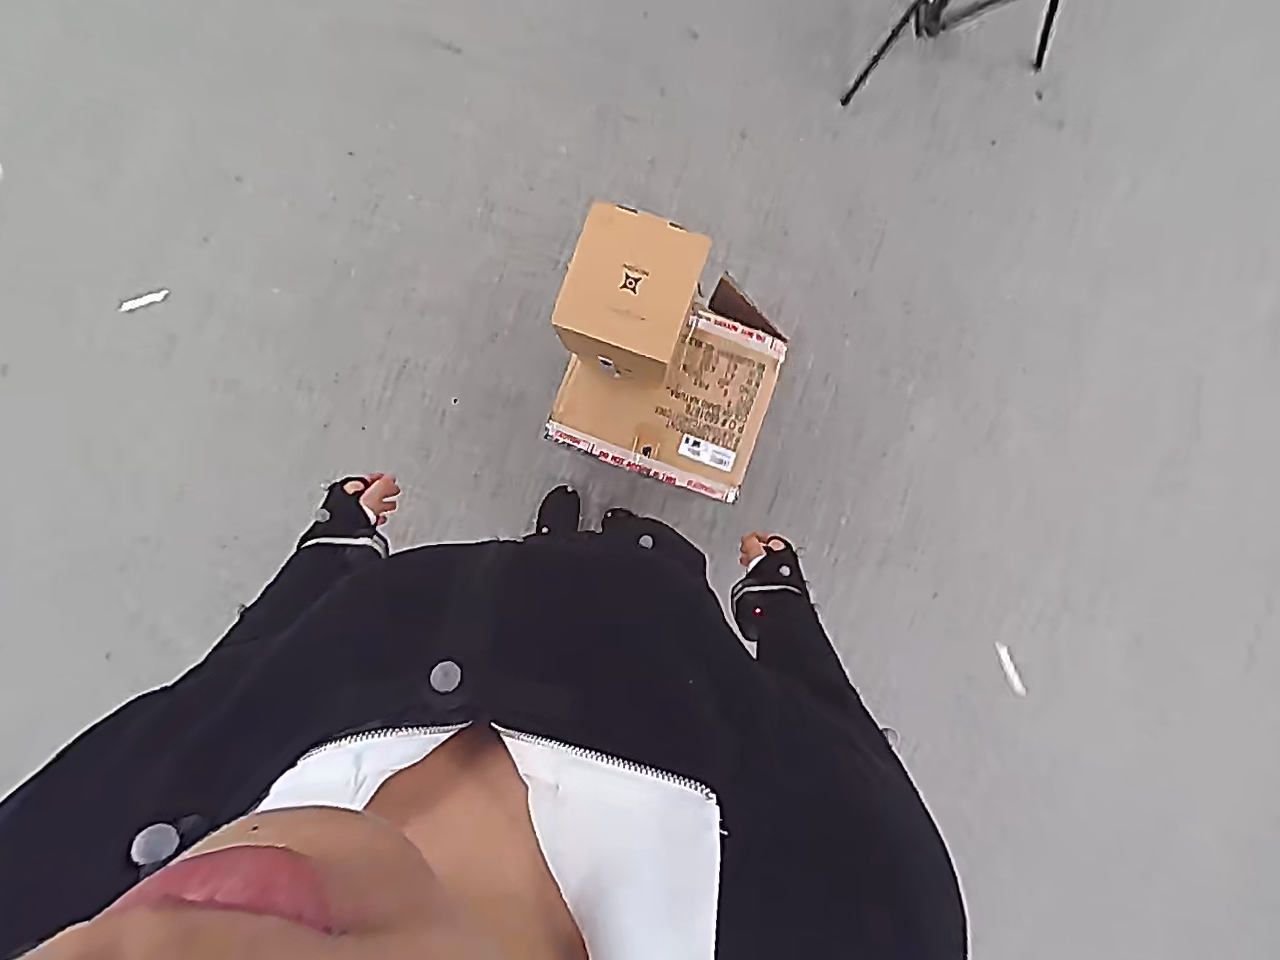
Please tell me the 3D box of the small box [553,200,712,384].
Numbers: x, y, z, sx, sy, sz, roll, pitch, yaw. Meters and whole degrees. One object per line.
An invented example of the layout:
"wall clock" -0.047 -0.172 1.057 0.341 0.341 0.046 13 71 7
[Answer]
"small box" -0.010 -0.255 0.778 0.168 0.176 0.179 19 91 1
